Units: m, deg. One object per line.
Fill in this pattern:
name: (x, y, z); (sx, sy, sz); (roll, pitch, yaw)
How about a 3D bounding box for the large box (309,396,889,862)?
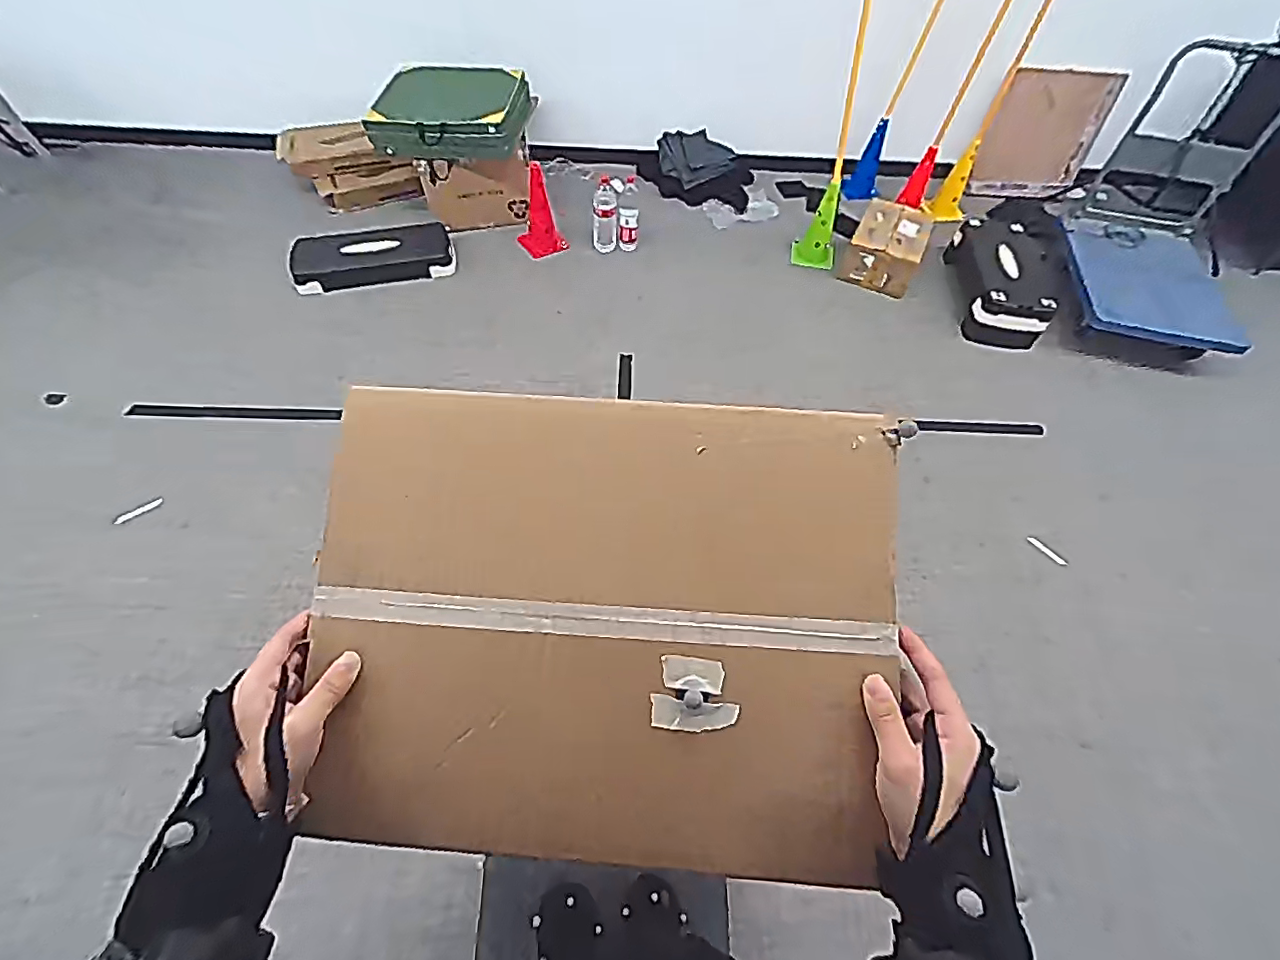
large box: (-0.022, 0.118, 0.535); (0.408, 0.320, 0.320); (3, 82, 2)
